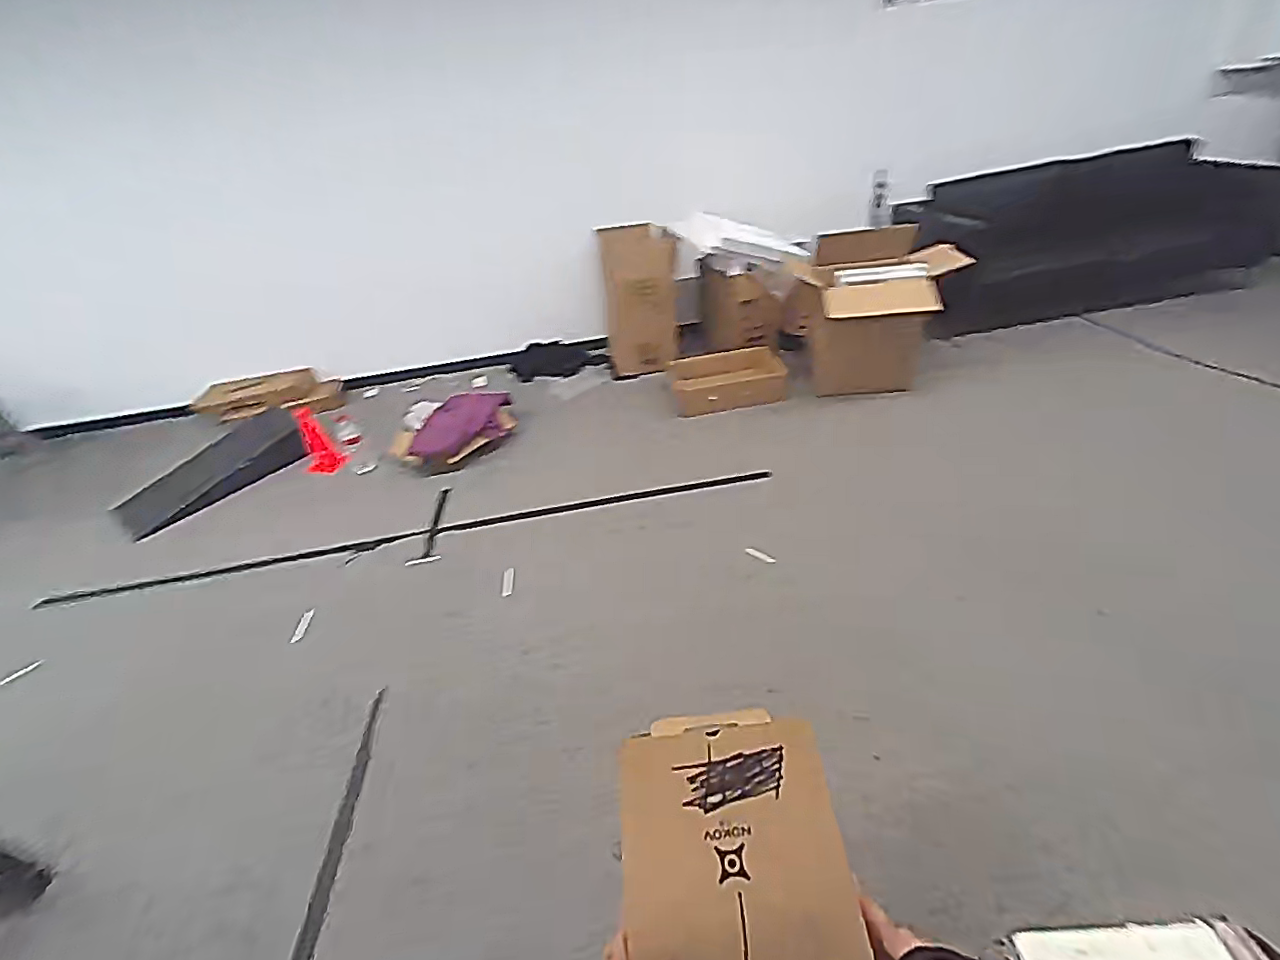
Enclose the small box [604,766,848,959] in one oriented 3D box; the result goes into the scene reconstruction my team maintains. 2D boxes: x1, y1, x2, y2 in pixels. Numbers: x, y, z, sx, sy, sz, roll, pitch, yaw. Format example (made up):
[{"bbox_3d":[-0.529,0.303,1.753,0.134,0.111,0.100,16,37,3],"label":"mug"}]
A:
[{"bbox_3d":[0.063,0.362,0.451,0.168,0.176,0.179,-8,50,0],"label":"small box"}]
